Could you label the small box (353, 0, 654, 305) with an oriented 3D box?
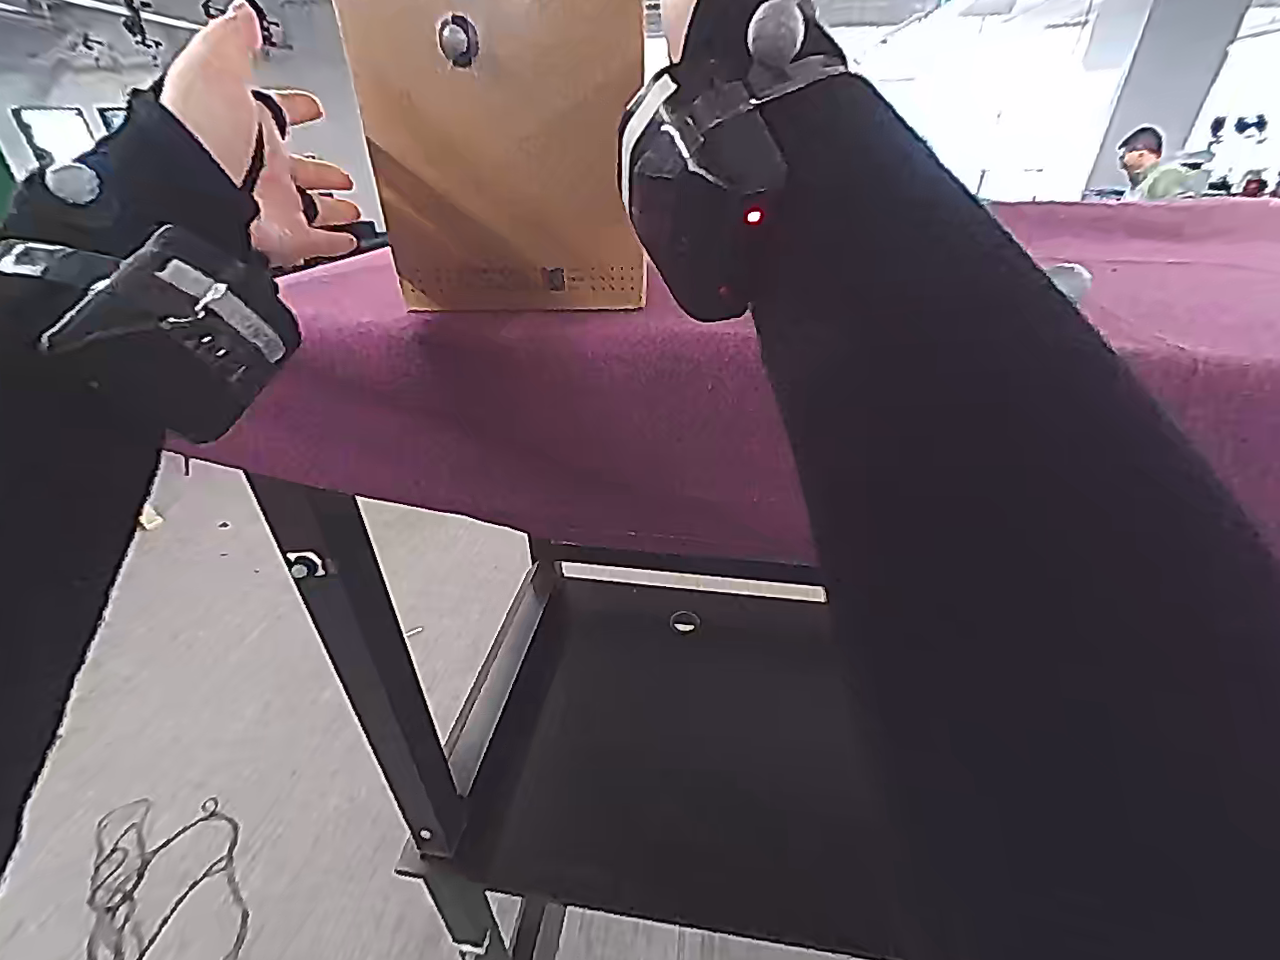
[{"bbox_3d":[-0.074,-0.233,0.394,0.168,0.176,0.179,0,31,1],"label":"small box"}]
